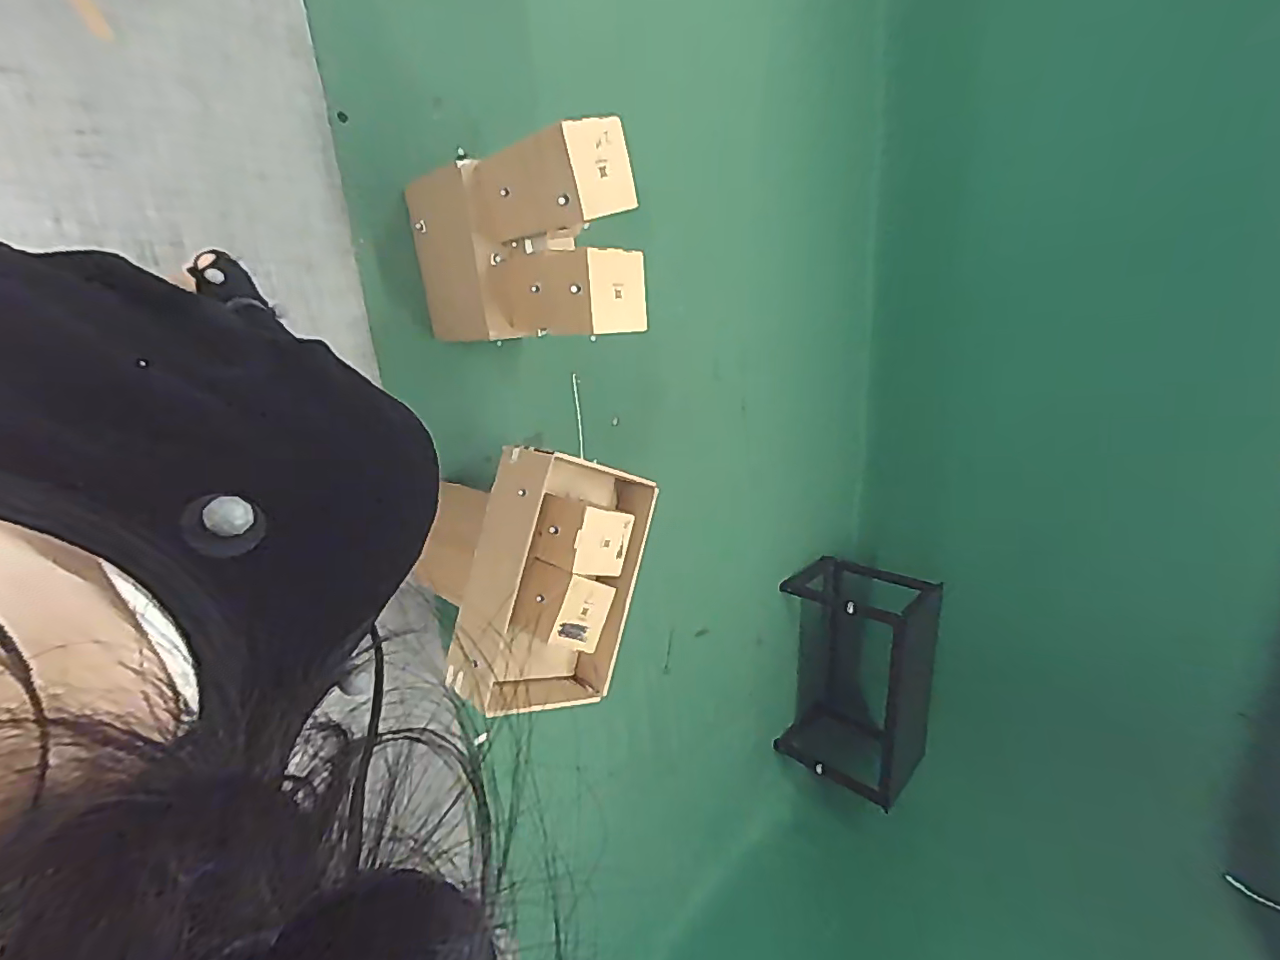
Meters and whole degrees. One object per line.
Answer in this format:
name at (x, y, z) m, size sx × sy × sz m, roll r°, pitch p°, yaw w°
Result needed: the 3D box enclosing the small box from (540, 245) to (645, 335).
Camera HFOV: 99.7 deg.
small box at (-0.109, -0.425, 1.233) m, size 0.168 × 0.176 × 0.179 m, roll -17°, pitch 110°, yaw -42°
